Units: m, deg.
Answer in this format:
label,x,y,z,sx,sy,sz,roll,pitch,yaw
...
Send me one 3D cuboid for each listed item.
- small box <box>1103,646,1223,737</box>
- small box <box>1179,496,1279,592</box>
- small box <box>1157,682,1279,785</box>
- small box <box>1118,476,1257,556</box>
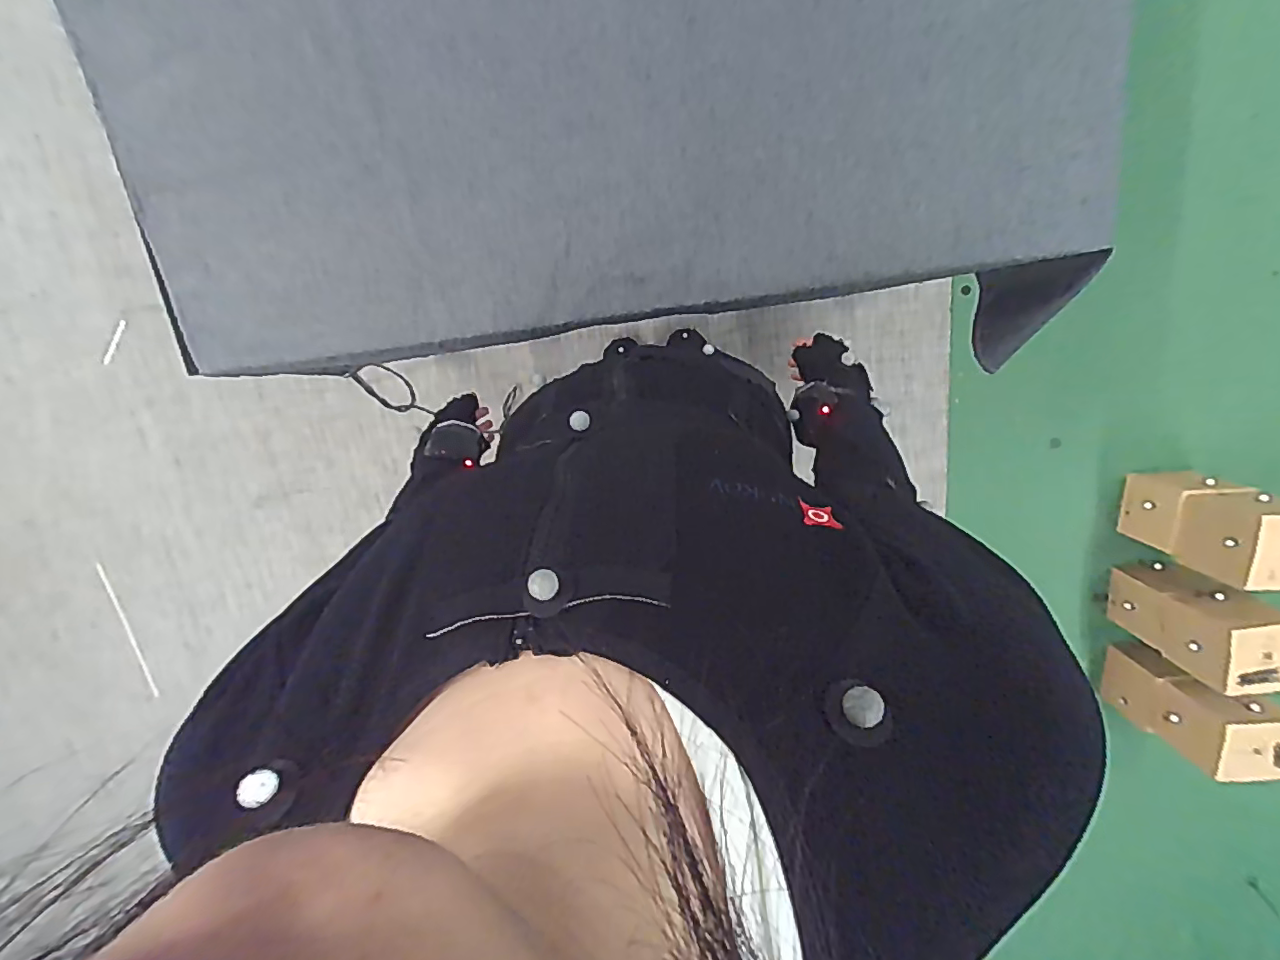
label,x,y,z,sx,sy,sz,roll,pitch,yaw
small box,1.442,0.584,1.505,0.168,0.176,0.179,-3,104,3
small box,1.383,0.136,1.219,0.168,0.176,0.179,-2,104,3
small box,1.459,0.623,1.345,0.179,0.176,0.168,-5,105,3
small box,1.379,0.087,1.377,0.179,0.176,0.168,-2,104,3
